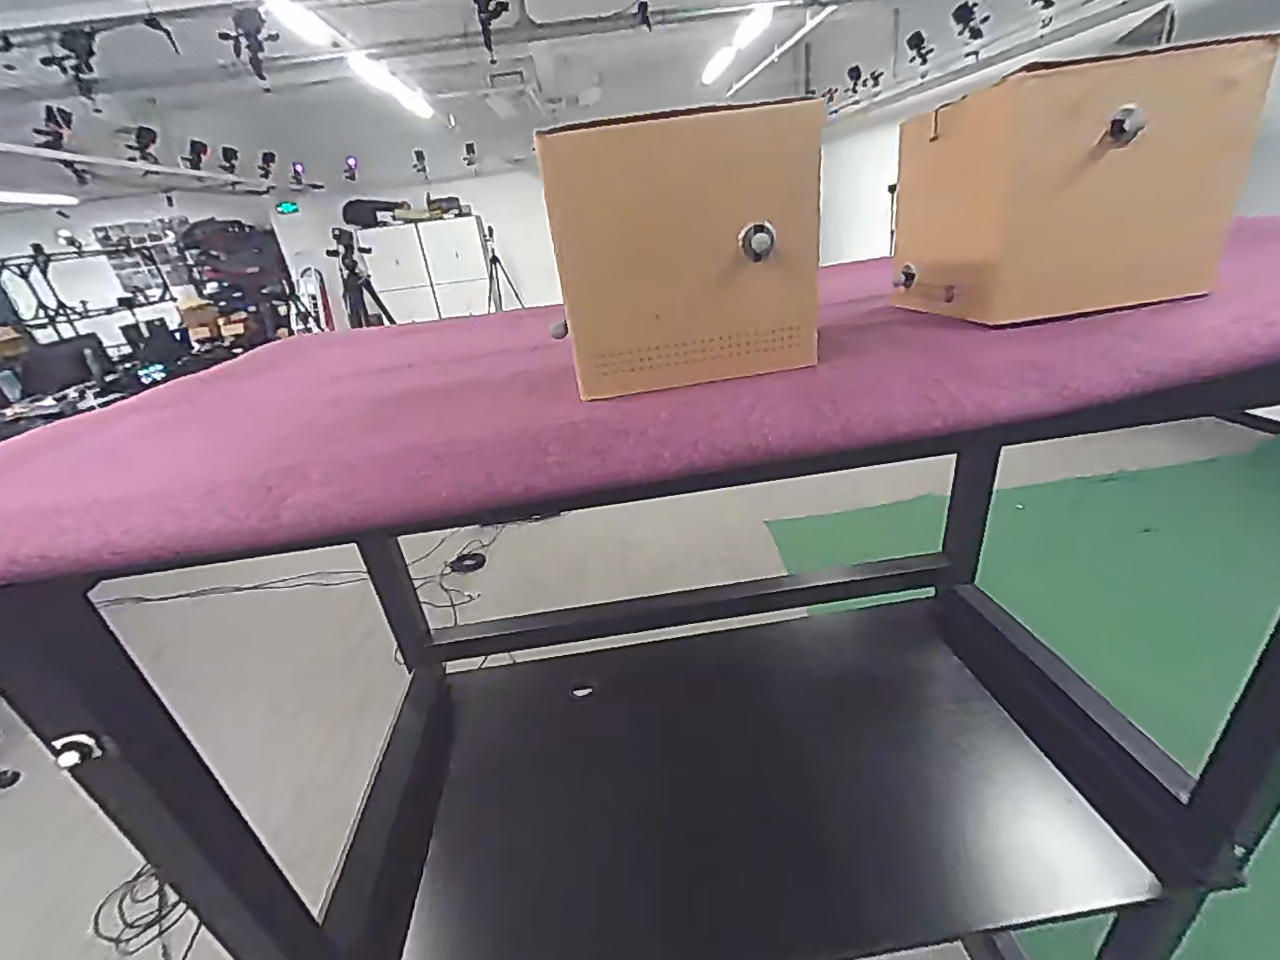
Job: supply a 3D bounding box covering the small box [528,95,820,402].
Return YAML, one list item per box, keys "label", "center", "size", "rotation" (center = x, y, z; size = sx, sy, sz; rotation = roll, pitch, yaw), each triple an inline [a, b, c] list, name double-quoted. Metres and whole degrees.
- label: "small box"
  center: [0.022, -0.173, 0.419]
  size: [0.179, 0.176, 0.168]
  rotation: [-10, 26, -3]

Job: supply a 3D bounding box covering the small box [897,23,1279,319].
- label: "small box"
  center: [0.337, -0.237, 0.452]
  size: [0.179, 0.176, 0.168]
  rotation: [-8, 24, -1]
